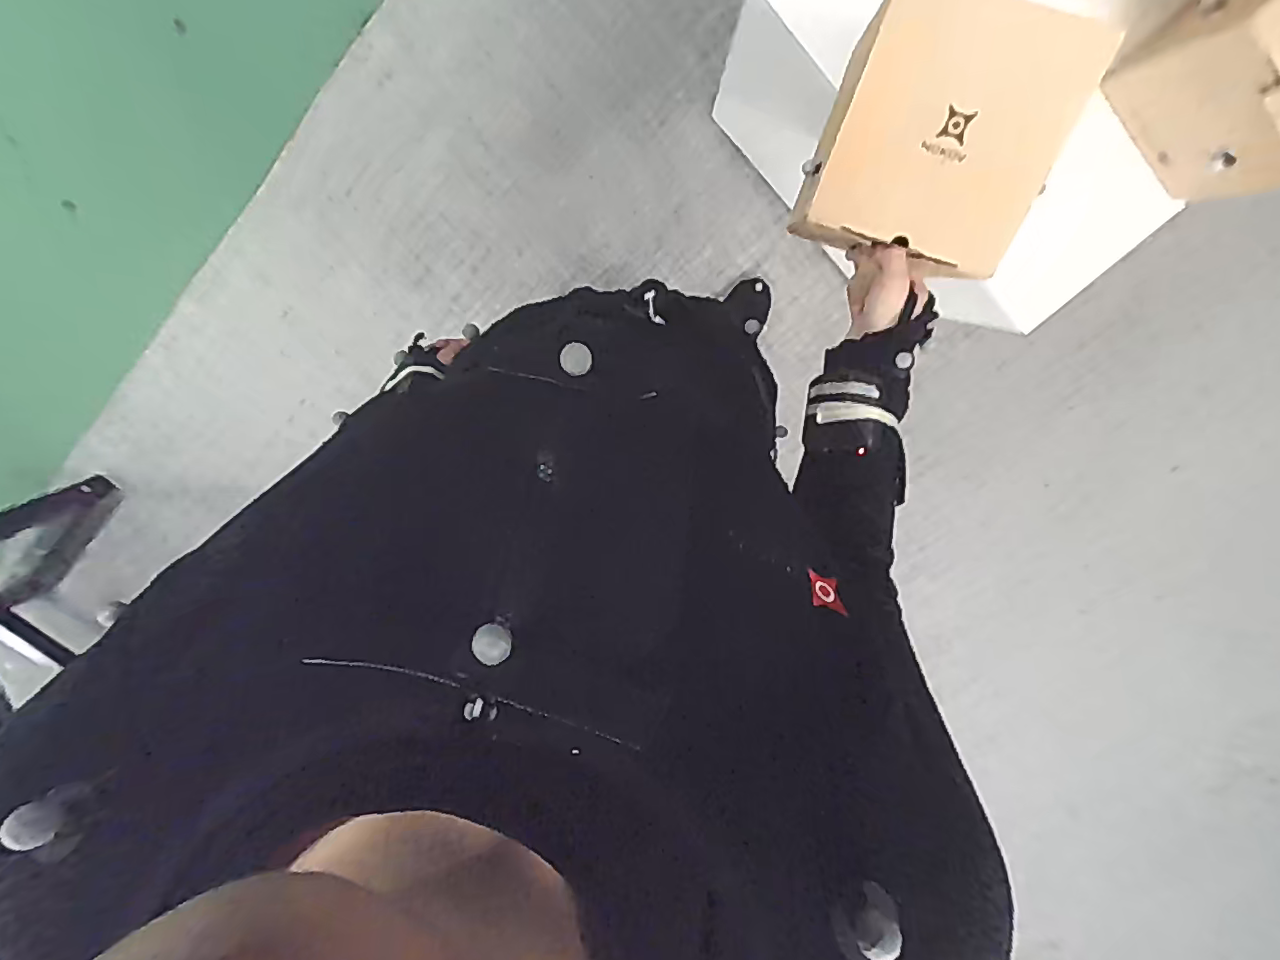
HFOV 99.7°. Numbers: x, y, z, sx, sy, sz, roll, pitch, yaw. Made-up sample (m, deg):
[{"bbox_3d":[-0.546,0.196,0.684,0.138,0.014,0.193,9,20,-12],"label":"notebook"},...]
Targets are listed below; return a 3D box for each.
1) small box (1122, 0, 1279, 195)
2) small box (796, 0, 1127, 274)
[{"bbox_3d":[0.596,-0.389,0.485,0.168,0.176,0.179,43,108,-14],"label":"small box"},{"bbox_3d":[0.252,-0.301,0.485,0.168,0.176,0.179,19,115,1],"label":"small box"}]
